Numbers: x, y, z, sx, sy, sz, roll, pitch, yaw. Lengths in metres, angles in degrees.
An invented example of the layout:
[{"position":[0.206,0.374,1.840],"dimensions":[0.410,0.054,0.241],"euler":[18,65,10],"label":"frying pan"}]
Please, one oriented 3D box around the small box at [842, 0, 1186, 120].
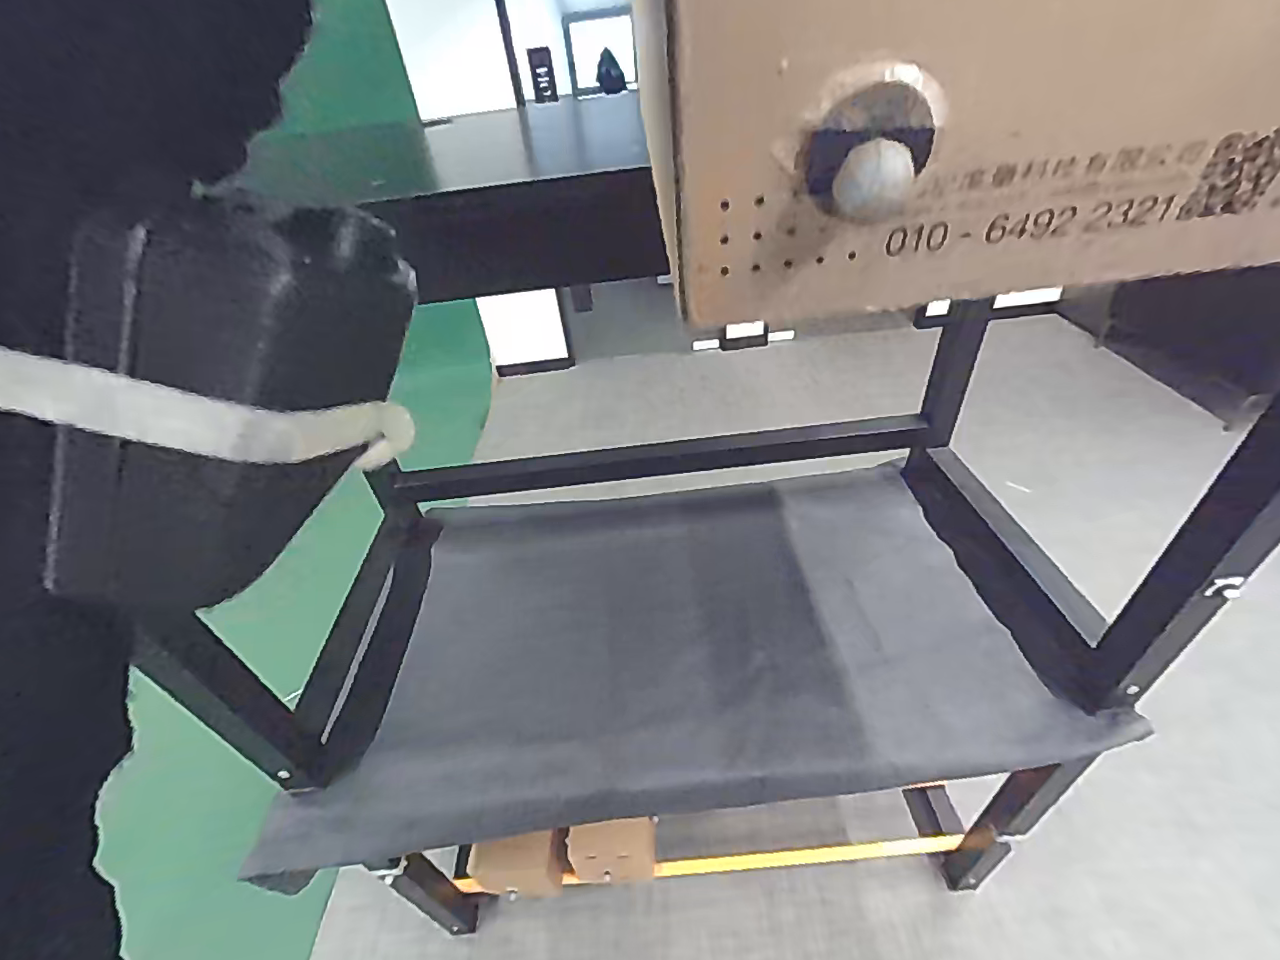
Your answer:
[{"position":[0.262,-0.372,0.393],"dimensions":[0.168,0.176,0.179],"euler":[-7,38,1],"label":"small box"}]
